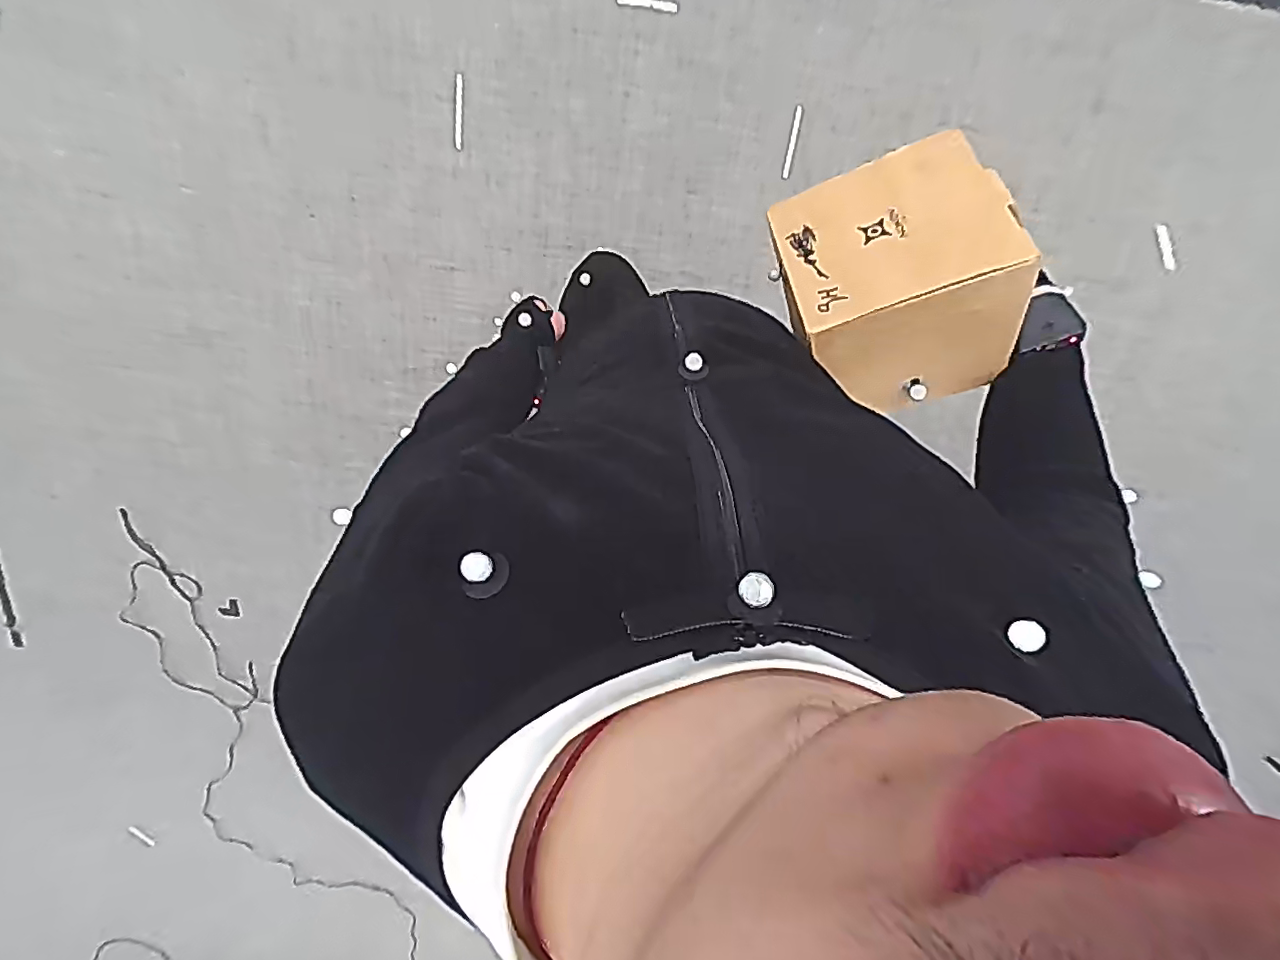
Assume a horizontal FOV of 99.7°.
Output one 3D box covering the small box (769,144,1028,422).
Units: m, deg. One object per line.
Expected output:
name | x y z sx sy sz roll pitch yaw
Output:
small box | 0.246 -0.185 0.550 0.179 0.168 0.176 -16 150 16
